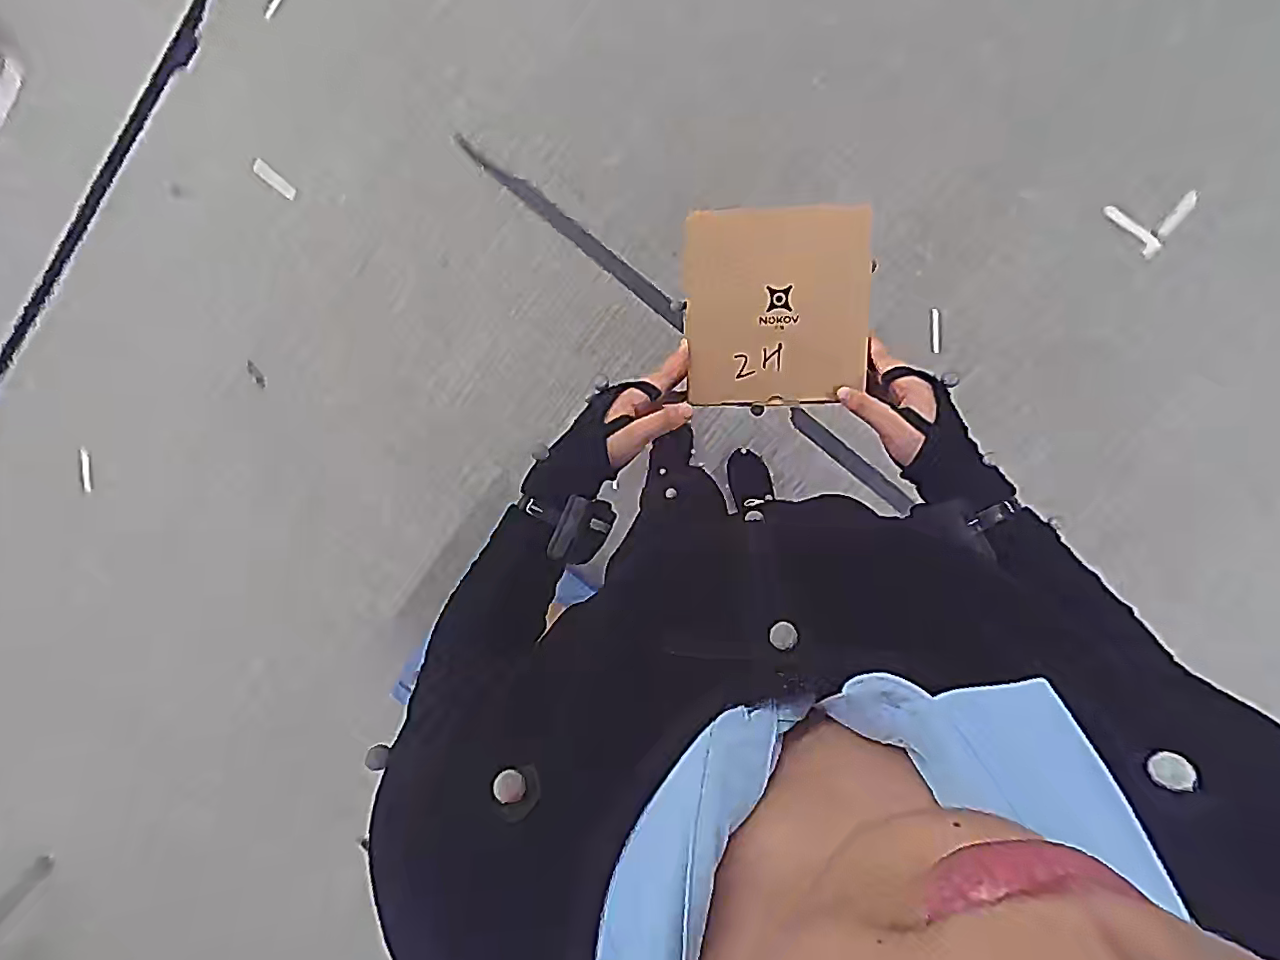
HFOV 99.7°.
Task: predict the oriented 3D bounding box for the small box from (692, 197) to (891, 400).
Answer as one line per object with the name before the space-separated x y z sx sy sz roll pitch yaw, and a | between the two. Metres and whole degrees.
small box | 0.141 -0.174 0.565 0.168 0.176 0.179 1 100 4
